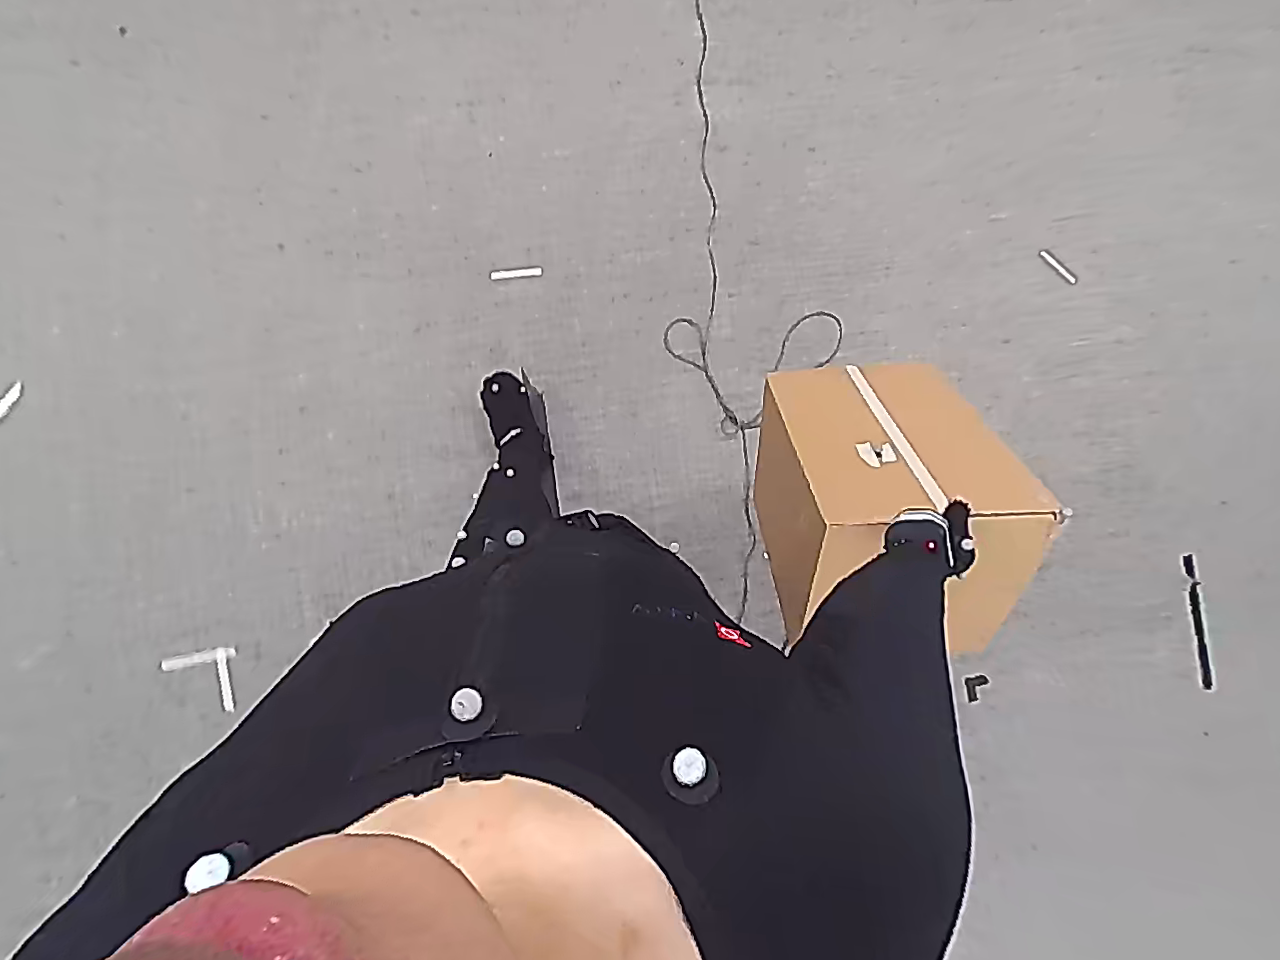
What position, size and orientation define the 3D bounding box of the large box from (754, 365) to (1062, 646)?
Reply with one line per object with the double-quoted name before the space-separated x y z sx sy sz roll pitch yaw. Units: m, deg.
"large box" 0.405 0.033 0.959 0.320 0.408 0.320 -3 131 1
